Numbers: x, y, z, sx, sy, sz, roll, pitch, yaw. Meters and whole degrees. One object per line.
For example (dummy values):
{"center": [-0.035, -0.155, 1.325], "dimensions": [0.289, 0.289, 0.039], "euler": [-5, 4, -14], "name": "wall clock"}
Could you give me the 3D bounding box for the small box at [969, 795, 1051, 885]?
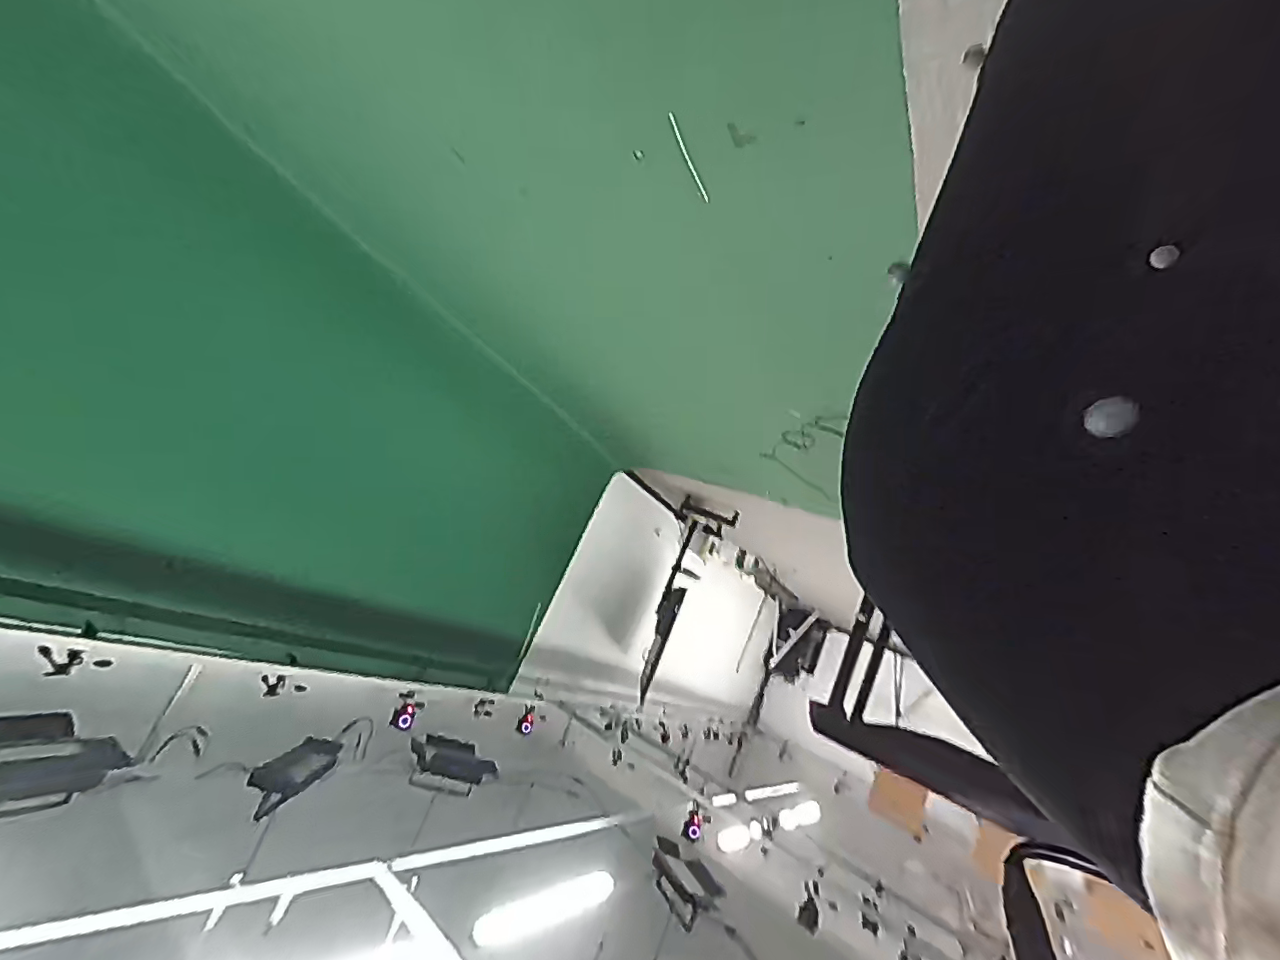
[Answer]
{"center": [1.191, 1.151, 1.748], "dimensions": [0.179, 0.176, 0.168], "euler": [16, 167, 32], "name": "small box"}
